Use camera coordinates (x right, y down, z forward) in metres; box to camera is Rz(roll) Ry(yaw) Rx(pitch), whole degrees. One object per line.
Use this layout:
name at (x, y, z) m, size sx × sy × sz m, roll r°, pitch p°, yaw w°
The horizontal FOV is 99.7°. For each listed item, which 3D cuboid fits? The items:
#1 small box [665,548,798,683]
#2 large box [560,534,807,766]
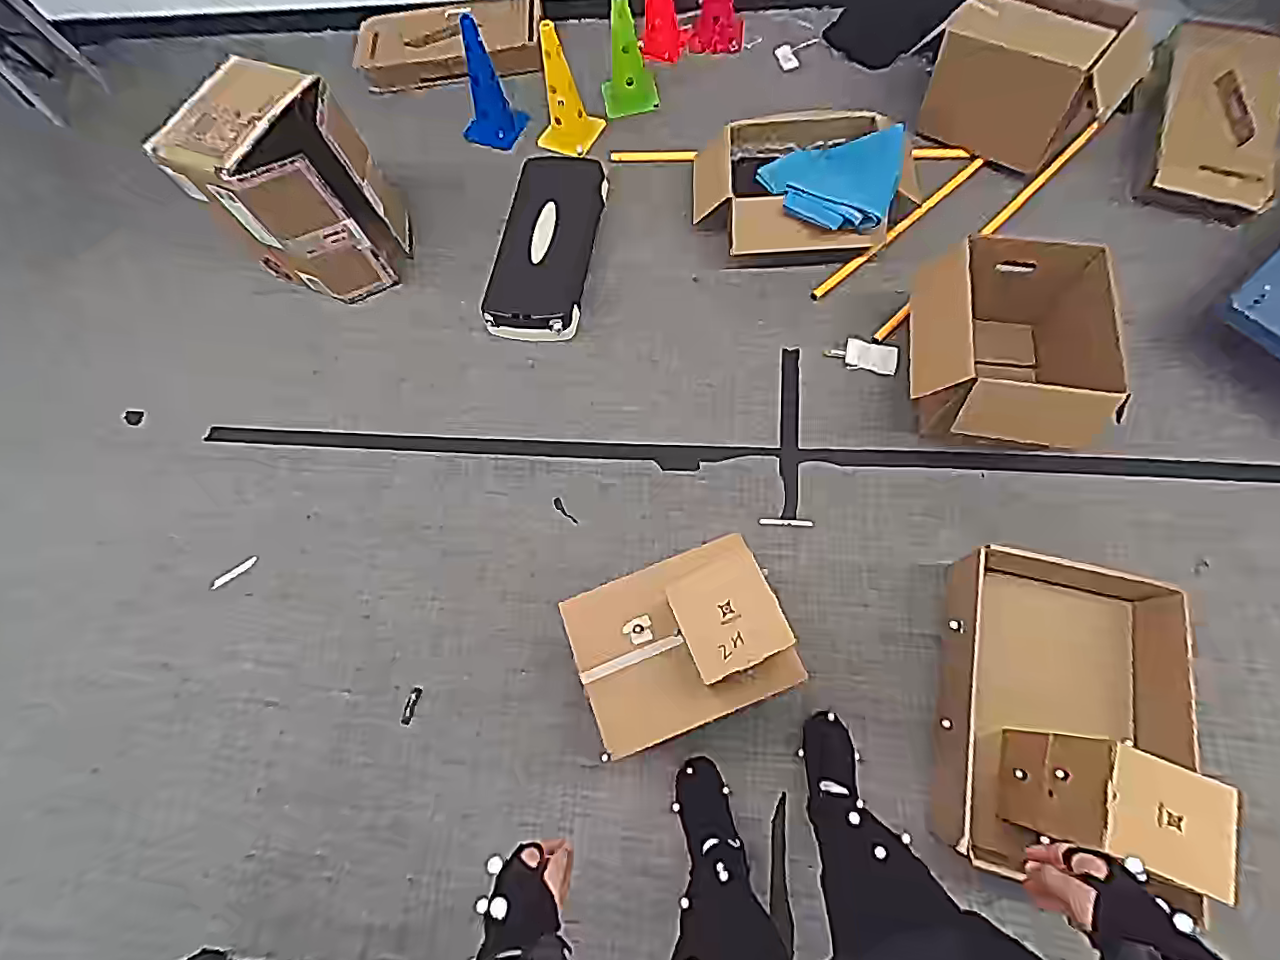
small box at (0.154, 0.247, 0.960) m, size 0.168 × 0.176 × 0.179 m, roll -23°, pitch 70°, yaw -2°
large box at (0.091, 0.366, 1.185) m, size 0.408 × 0.320 × 0.320 m, roll -22°, pitch 68°, yaw -2°
